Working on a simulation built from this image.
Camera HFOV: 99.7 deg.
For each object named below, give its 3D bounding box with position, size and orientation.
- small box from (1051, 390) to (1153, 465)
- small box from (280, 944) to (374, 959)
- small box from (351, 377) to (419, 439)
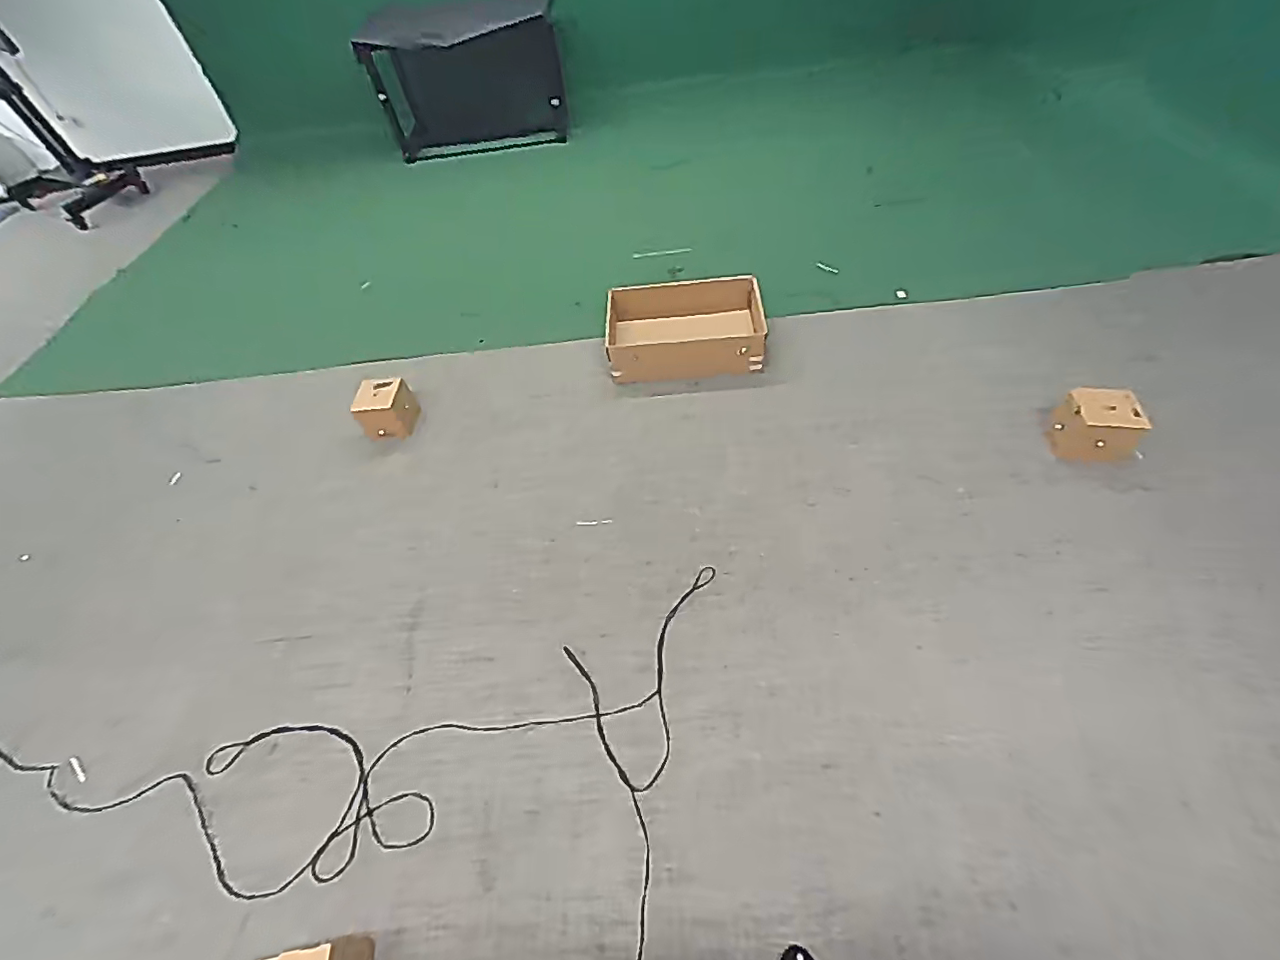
[{"bbox_3d":[1.432,-0.162,1.696,0.179,0.176,0.168,4,53,12],"label":"small box"},{"bbox_3d":[-0.641,1.031,1.045,0.168,0.176,0.179,-12,50,-1],"label":"small box"},{"bbox_3d":[-0.996,-0.282,2.131,0.168,0.176,0.179,-4,52,5],"label":"small box"}]
